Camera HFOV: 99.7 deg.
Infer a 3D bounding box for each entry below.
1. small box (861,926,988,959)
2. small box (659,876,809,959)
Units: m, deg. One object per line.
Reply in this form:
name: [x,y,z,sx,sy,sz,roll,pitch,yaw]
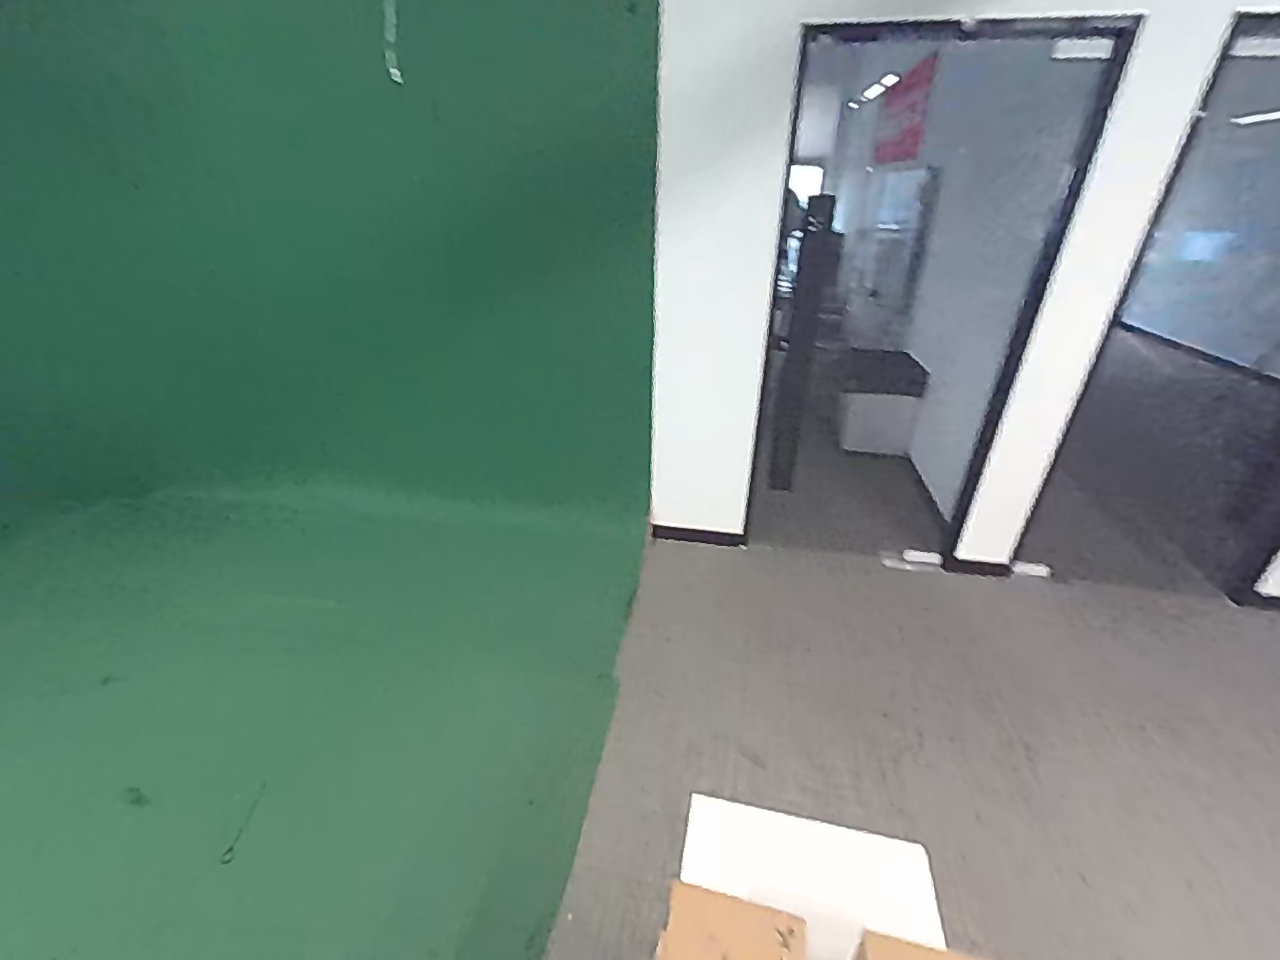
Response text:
small box: [0.349,0.679,0.631,0.179,0.176,0.168,6,28,13]
small box: [0.109,0.649,0.675,0.179,0.176,0.168,9,30,12]
